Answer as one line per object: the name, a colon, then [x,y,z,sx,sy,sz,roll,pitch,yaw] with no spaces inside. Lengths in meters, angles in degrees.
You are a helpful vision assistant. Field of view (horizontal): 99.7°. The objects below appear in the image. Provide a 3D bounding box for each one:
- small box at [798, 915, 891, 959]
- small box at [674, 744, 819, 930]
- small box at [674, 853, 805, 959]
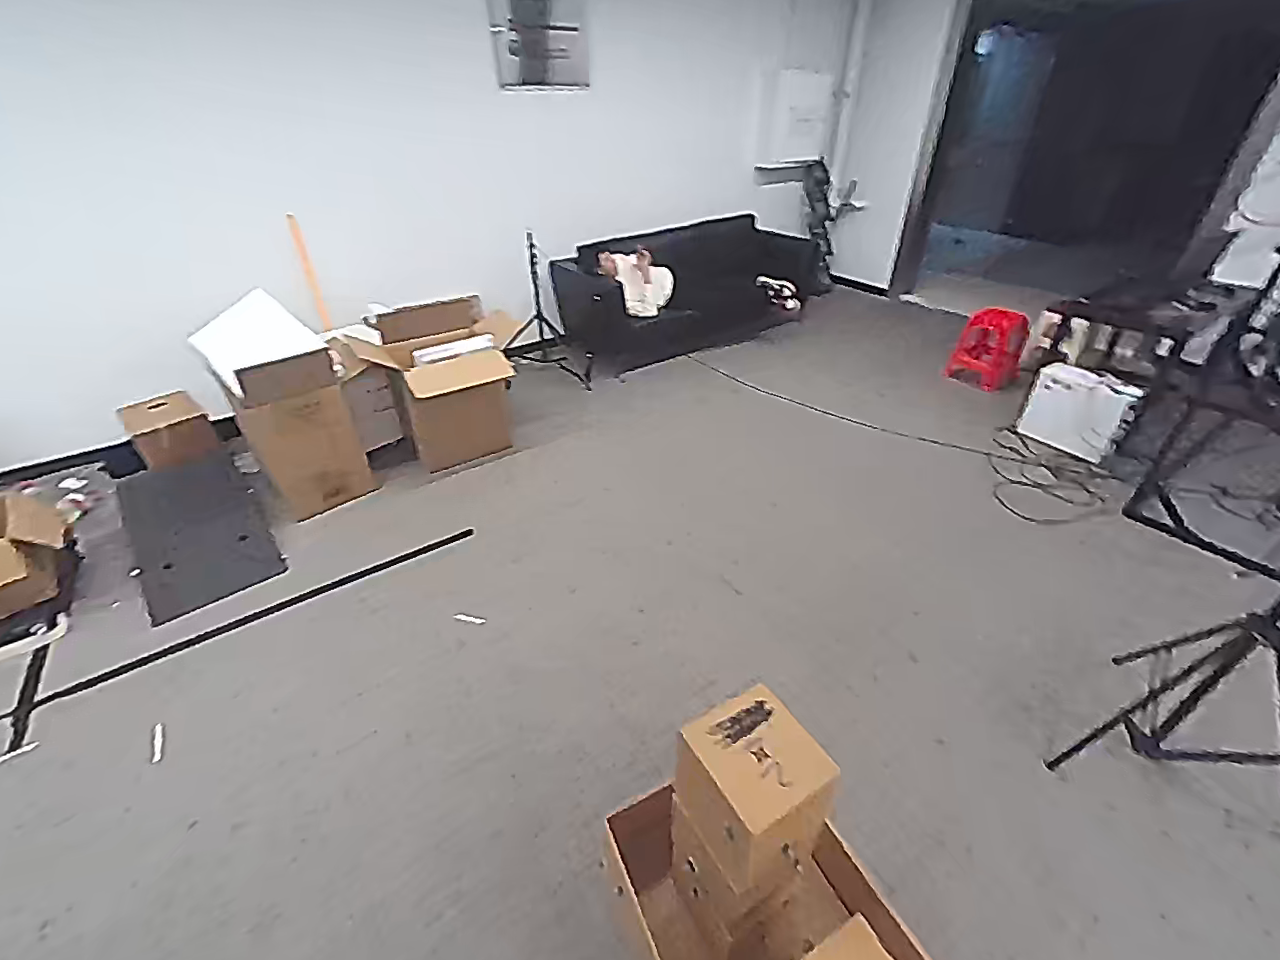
small box: [0.270,0.740,0.713,0.179,0.176,0.168,-16,37,-23]
small box: [0.170,0.600,0.917,0.179,0.176,0.168,-19,37,-26]
small box: [0.173,0.741,1.002,0.168,0.176,0.179,-18,39,-23]
